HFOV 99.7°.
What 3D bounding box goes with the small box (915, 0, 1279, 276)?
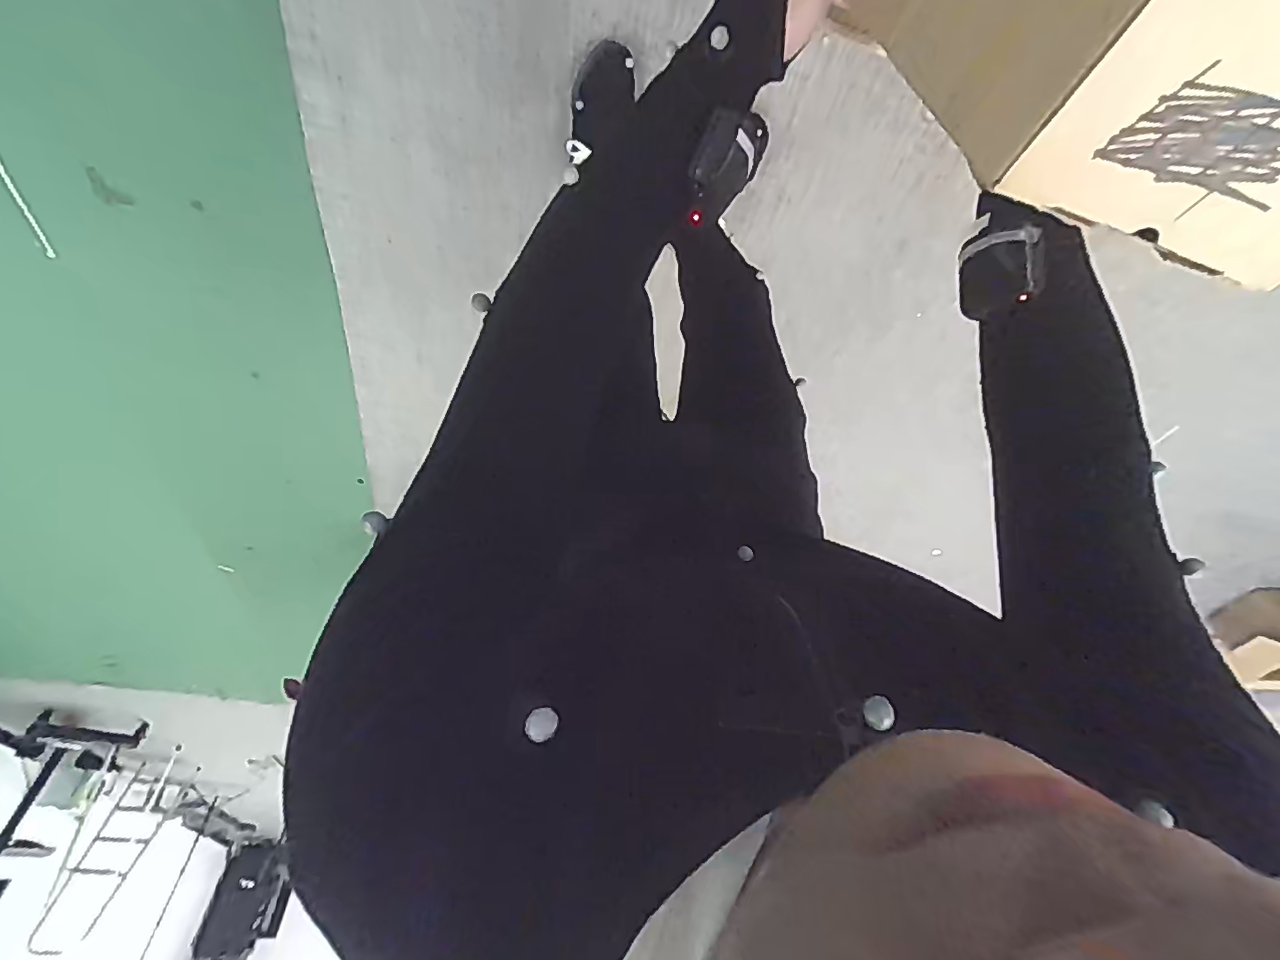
[{"bbox_3d":[0.247,-0.226,0.226,0.168,0.176,0.179,11,141,-14],"label":"small box"}]
